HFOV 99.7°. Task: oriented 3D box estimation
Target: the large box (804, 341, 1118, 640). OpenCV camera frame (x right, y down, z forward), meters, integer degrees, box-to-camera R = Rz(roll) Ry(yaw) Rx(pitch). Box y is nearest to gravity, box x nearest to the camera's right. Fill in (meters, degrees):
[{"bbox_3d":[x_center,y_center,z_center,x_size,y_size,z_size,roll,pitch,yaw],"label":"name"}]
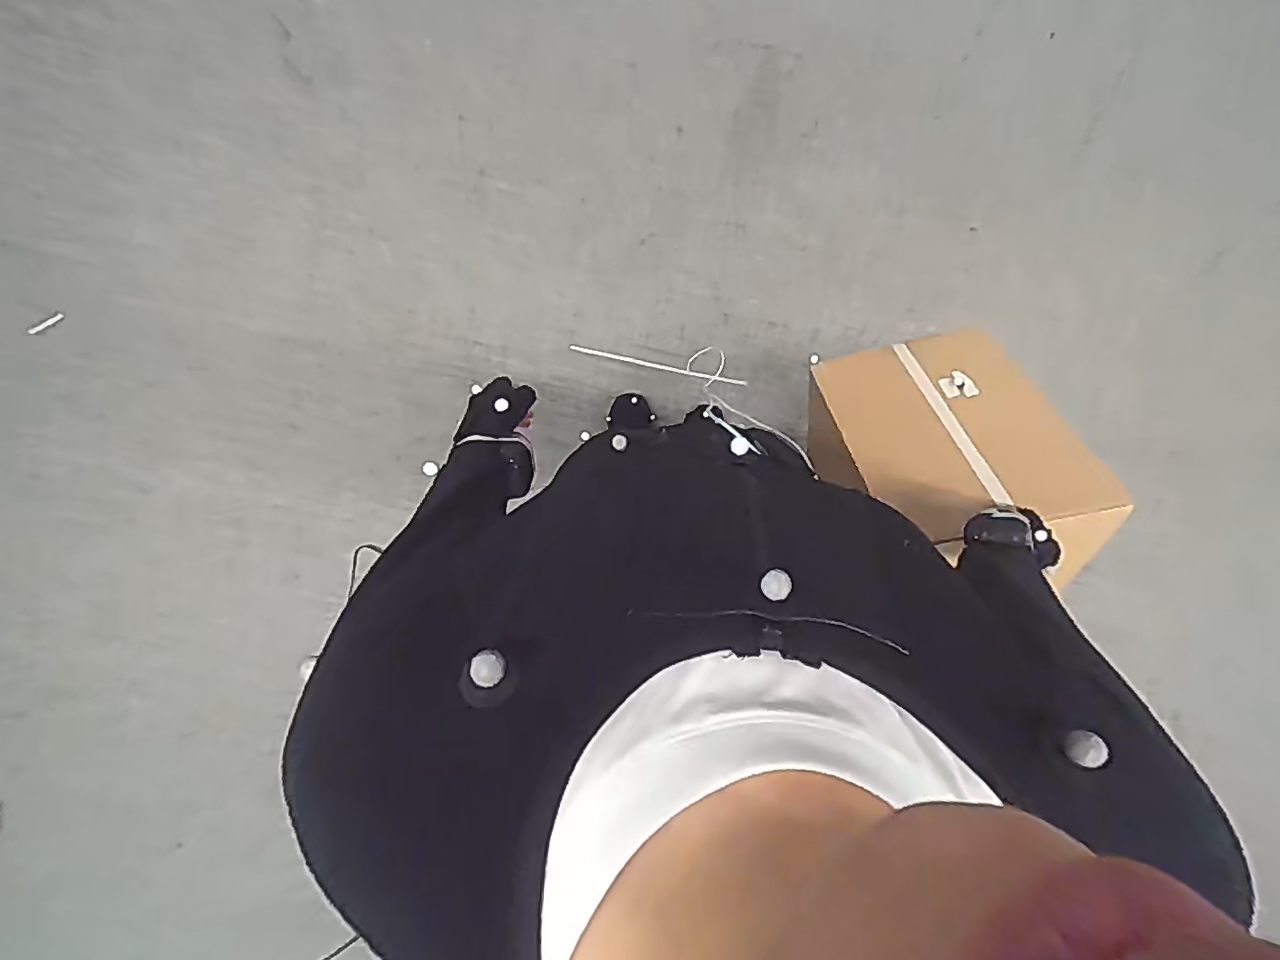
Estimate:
[{"bbox_3d":[0.508,0.019,0.977,0.320,0.408,0.320,-11,139,4],"label":"large box"}]
